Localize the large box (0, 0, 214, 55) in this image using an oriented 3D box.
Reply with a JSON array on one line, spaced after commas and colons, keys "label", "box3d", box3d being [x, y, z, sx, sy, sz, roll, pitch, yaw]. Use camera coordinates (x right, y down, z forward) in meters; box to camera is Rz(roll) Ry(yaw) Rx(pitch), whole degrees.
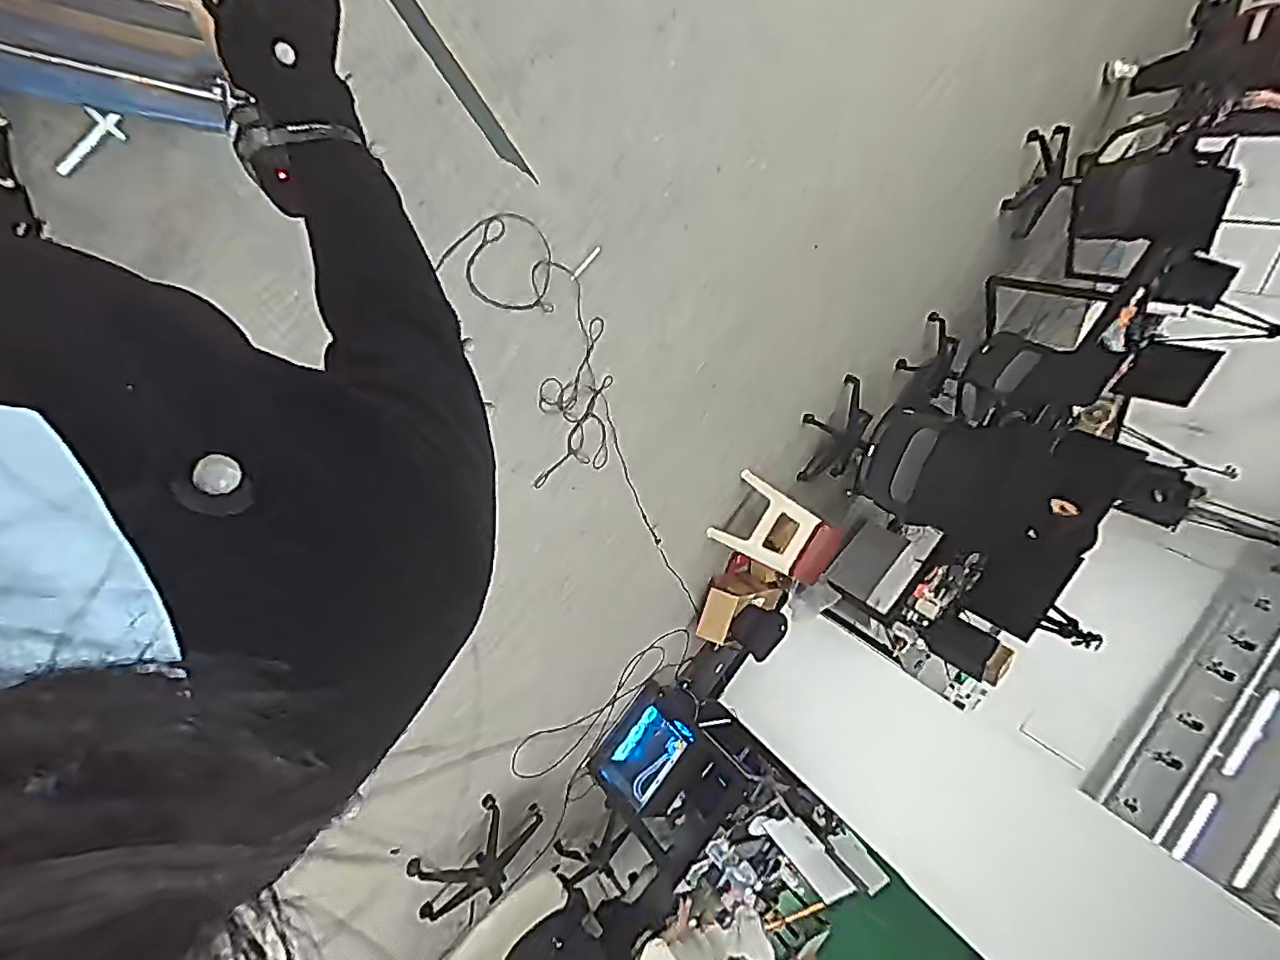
[{"label": "large box", "box3d": [-0.759, -0.730, 0.588, 0.408, 0.320, 0.320, -12, 122, -41]}]
